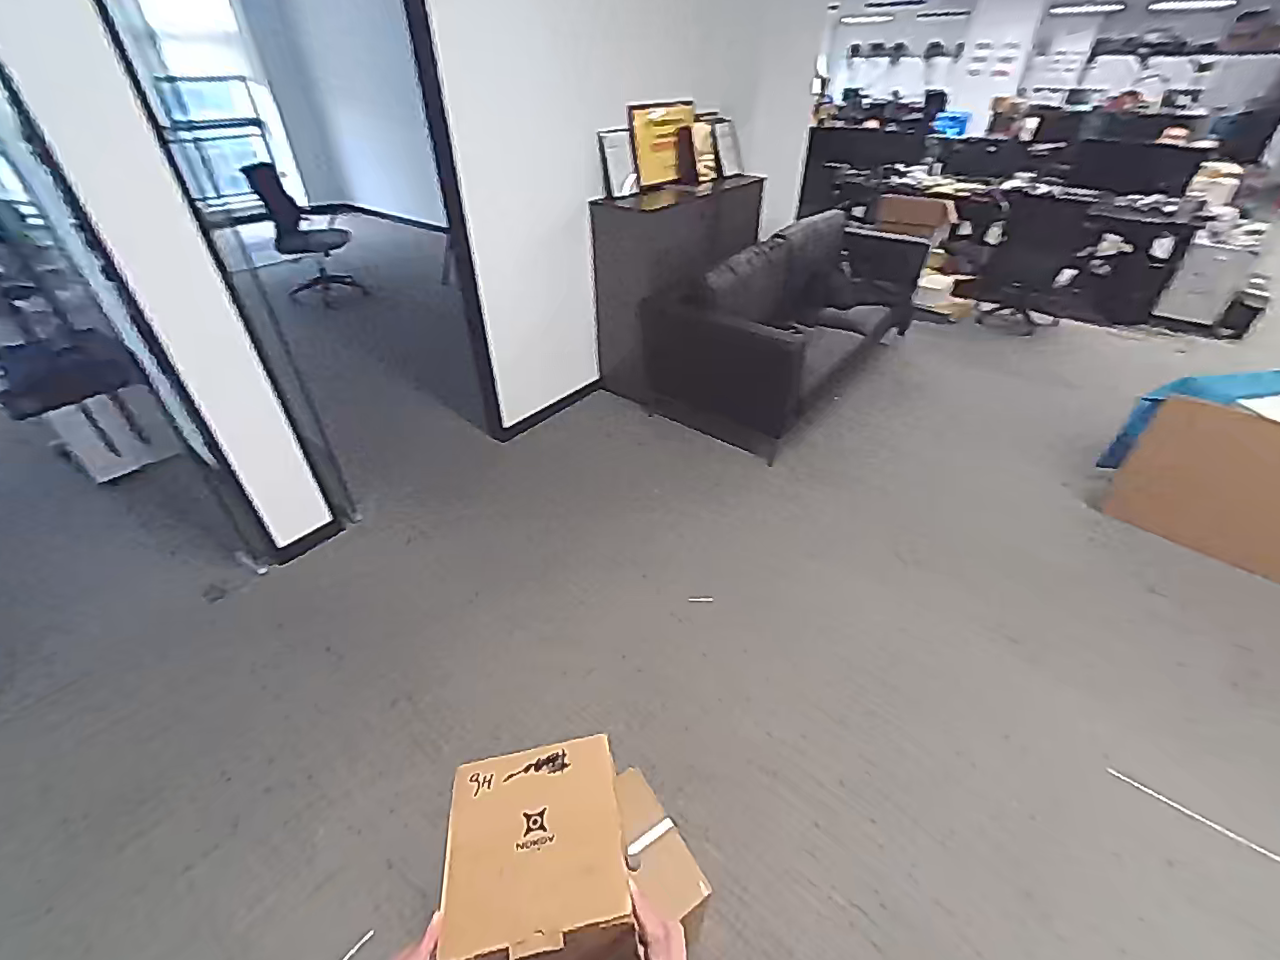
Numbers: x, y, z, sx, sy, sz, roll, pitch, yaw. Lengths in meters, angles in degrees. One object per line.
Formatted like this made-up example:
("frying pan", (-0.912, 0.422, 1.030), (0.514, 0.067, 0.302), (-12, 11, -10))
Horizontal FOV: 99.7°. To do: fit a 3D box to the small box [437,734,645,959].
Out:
("small box", (-0.092, 0.402, 0.554), (0.168, 0.176, 0.179), (-9, 32, -6))
